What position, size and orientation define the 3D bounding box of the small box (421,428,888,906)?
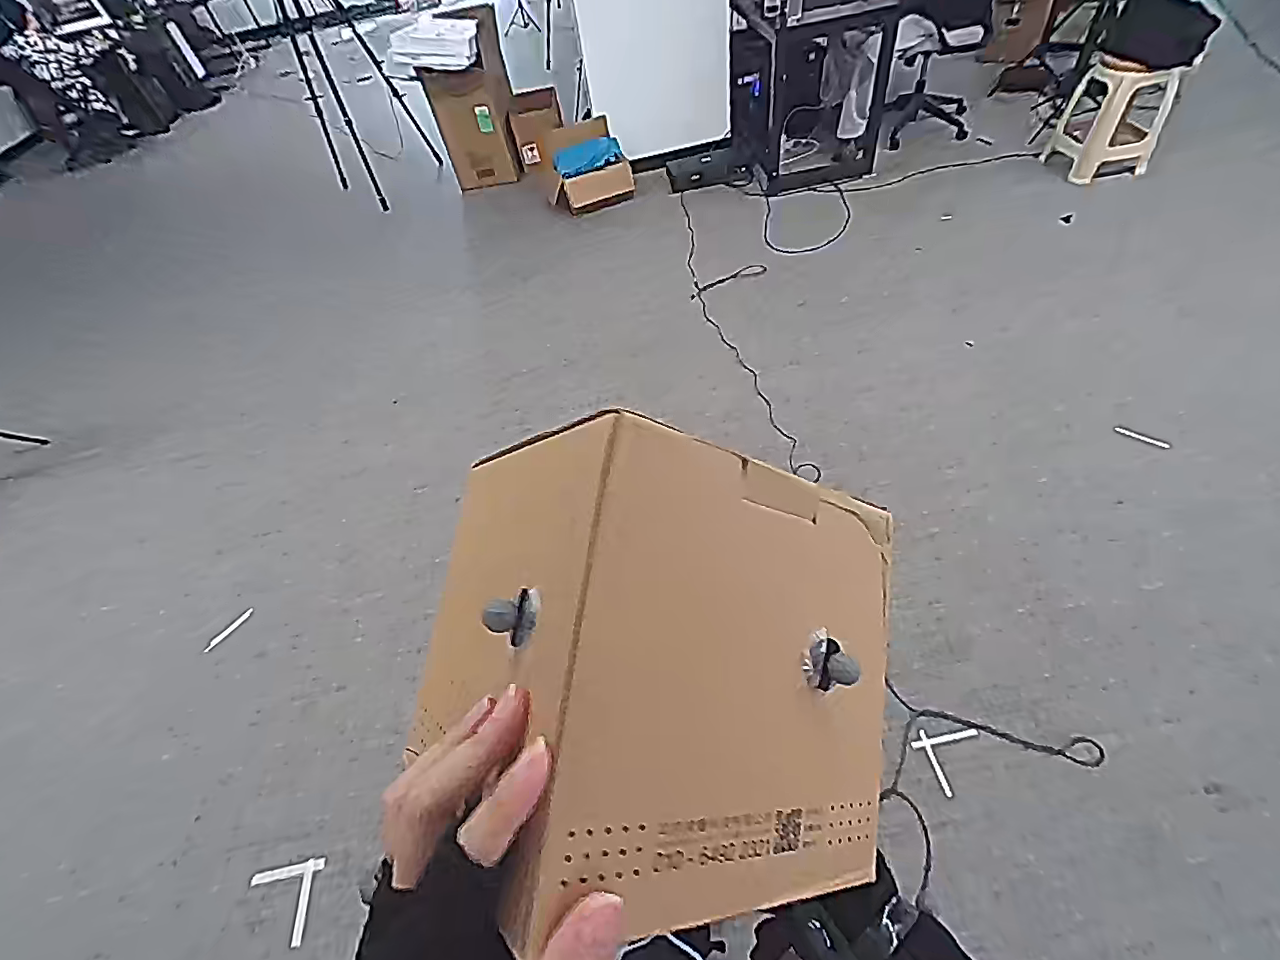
[{"bbox_3d":[0.000,0.087,0.283,0.179,0.168,0.176,-11,66,57],"label":"small box"}]
